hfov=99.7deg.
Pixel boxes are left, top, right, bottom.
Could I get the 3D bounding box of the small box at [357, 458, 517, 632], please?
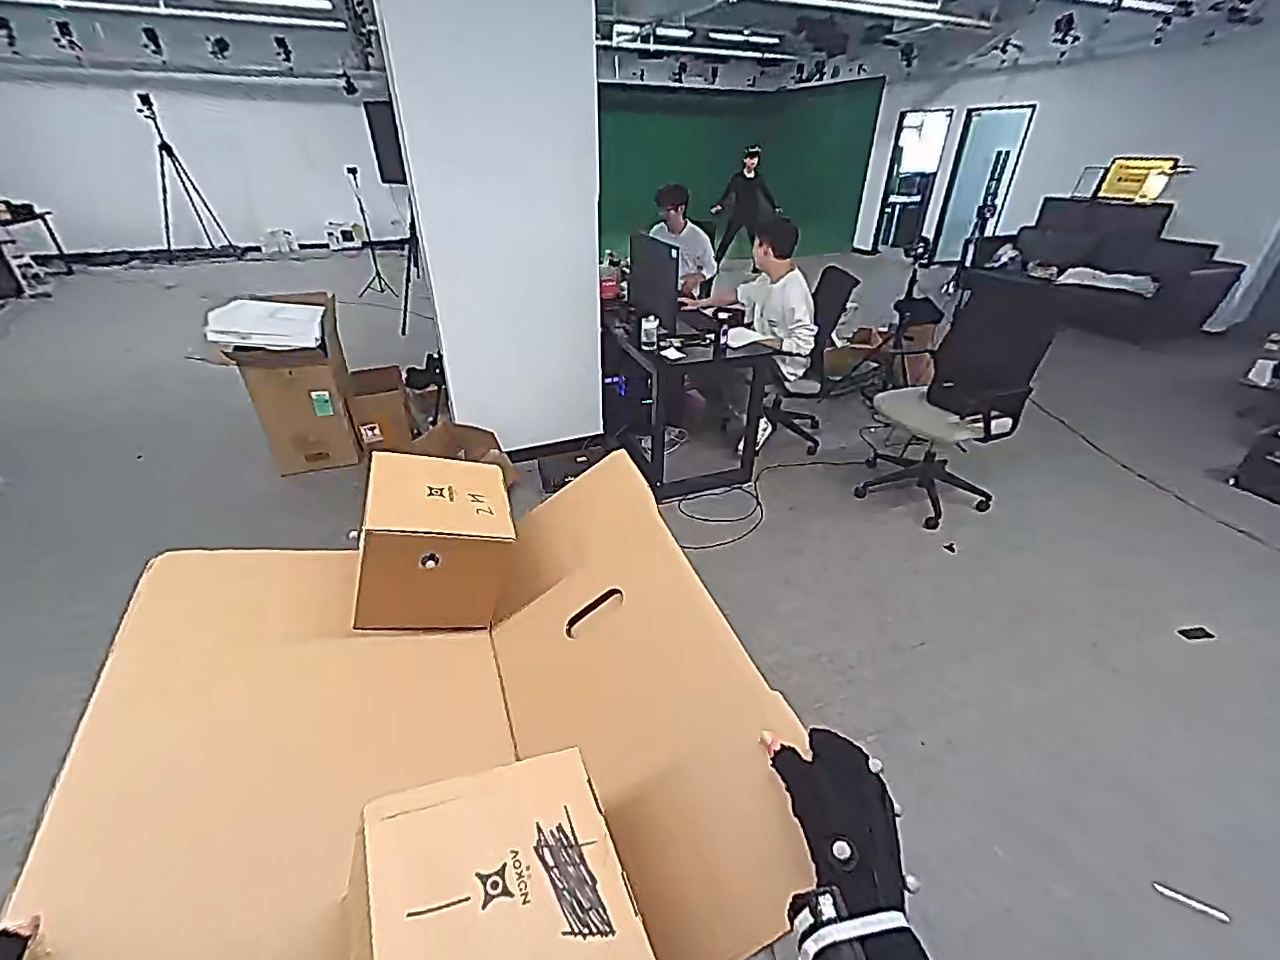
[{"bbox_3d":[-0.283,0.093,0.747,0.179,0.176,0.168,8,32,-26],"label":"small box"}]
